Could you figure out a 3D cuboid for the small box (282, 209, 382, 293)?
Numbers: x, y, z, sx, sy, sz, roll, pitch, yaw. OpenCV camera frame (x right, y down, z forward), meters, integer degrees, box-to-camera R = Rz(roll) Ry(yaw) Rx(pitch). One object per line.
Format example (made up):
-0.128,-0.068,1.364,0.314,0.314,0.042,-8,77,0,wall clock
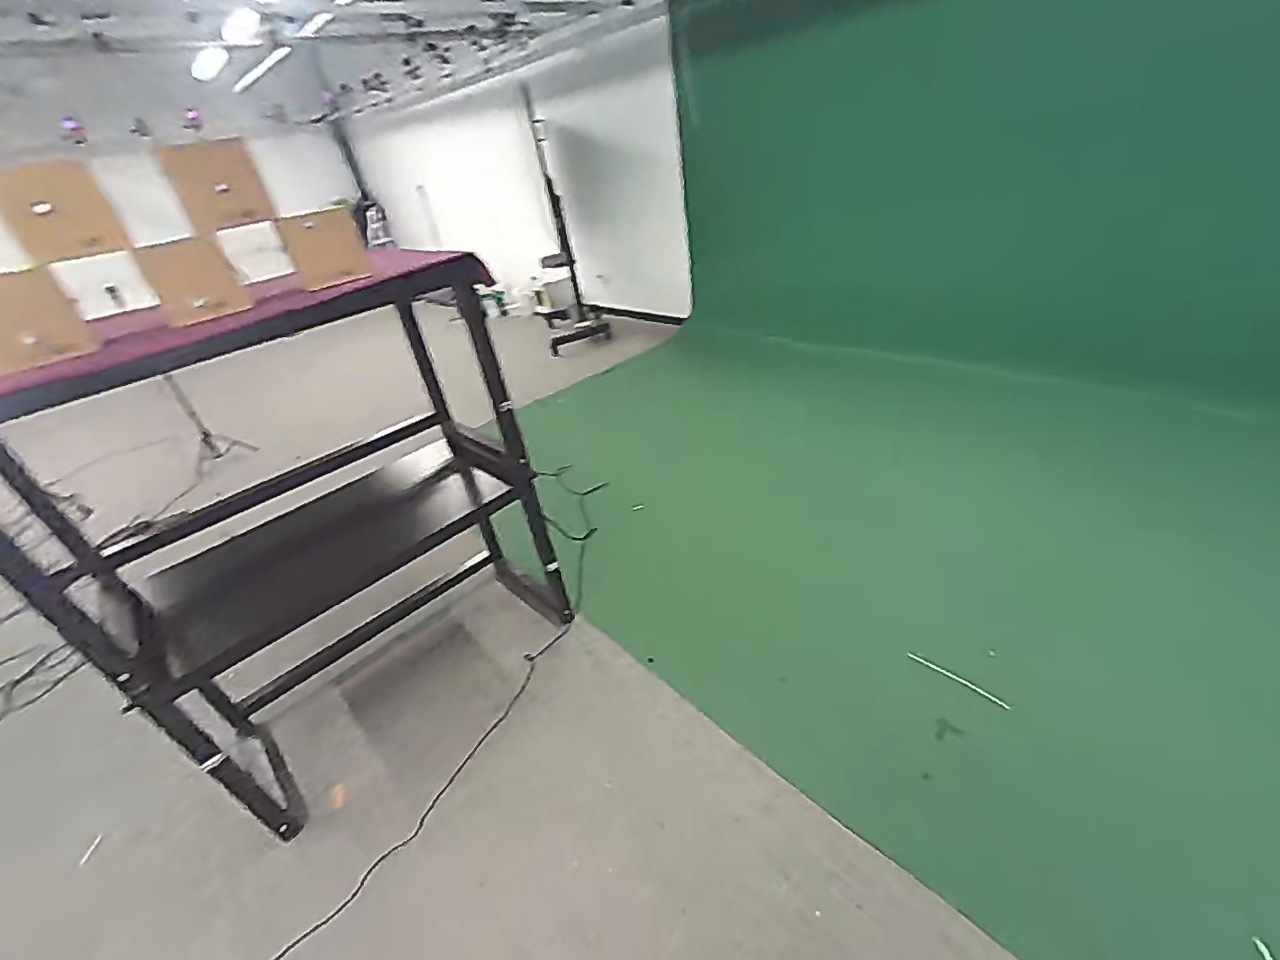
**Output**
-0.800,-0.593,1.404,0.168,0.176,0.179,-28,35,-24,small box

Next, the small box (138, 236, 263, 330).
-1.014,-0.458,1.253,0.168,0.176,0.179,-32,38,-29,small box

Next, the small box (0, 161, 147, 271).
-1.146,-0.526,1.089,0.179,0.176,0.168,17,40,39,small box

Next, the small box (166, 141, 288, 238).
-0.943,-0.662,1.243,0.168,0.176,0.179,-31,36,-30,small box

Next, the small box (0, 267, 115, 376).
-1.208,-0.321,1.085,0.168,0.176,0.179,-33,39,-33,small box
